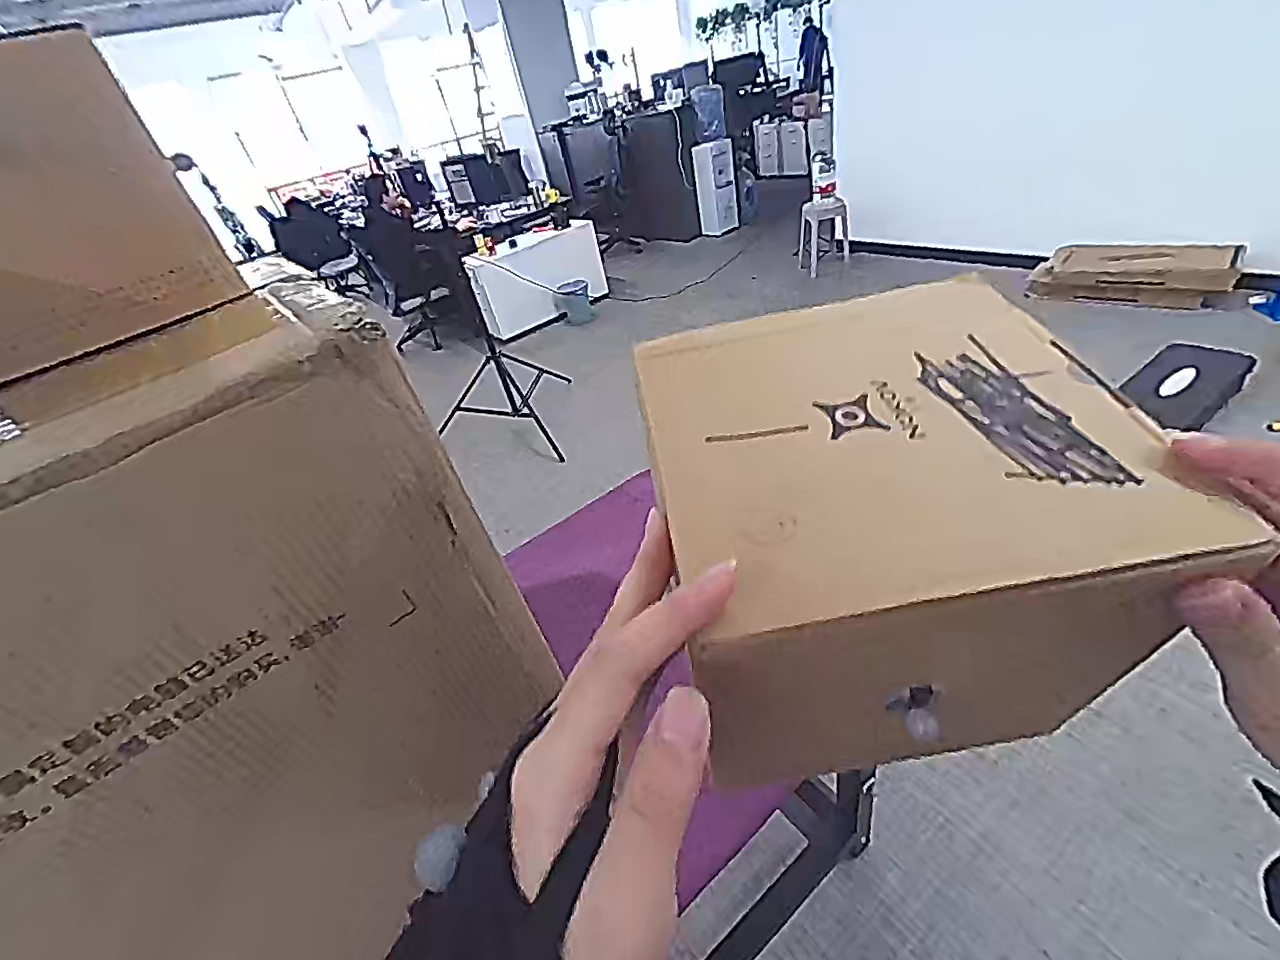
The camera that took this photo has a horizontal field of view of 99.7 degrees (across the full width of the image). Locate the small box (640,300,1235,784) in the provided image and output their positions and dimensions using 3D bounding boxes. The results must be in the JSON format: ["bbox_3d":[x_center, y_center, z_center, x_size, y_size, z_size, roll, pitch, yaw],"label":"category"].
[{"bbox_3d":[0.103,0.037,0.280,0.179,0.176,0.168,-11,46,2],"label":"small box"}]
